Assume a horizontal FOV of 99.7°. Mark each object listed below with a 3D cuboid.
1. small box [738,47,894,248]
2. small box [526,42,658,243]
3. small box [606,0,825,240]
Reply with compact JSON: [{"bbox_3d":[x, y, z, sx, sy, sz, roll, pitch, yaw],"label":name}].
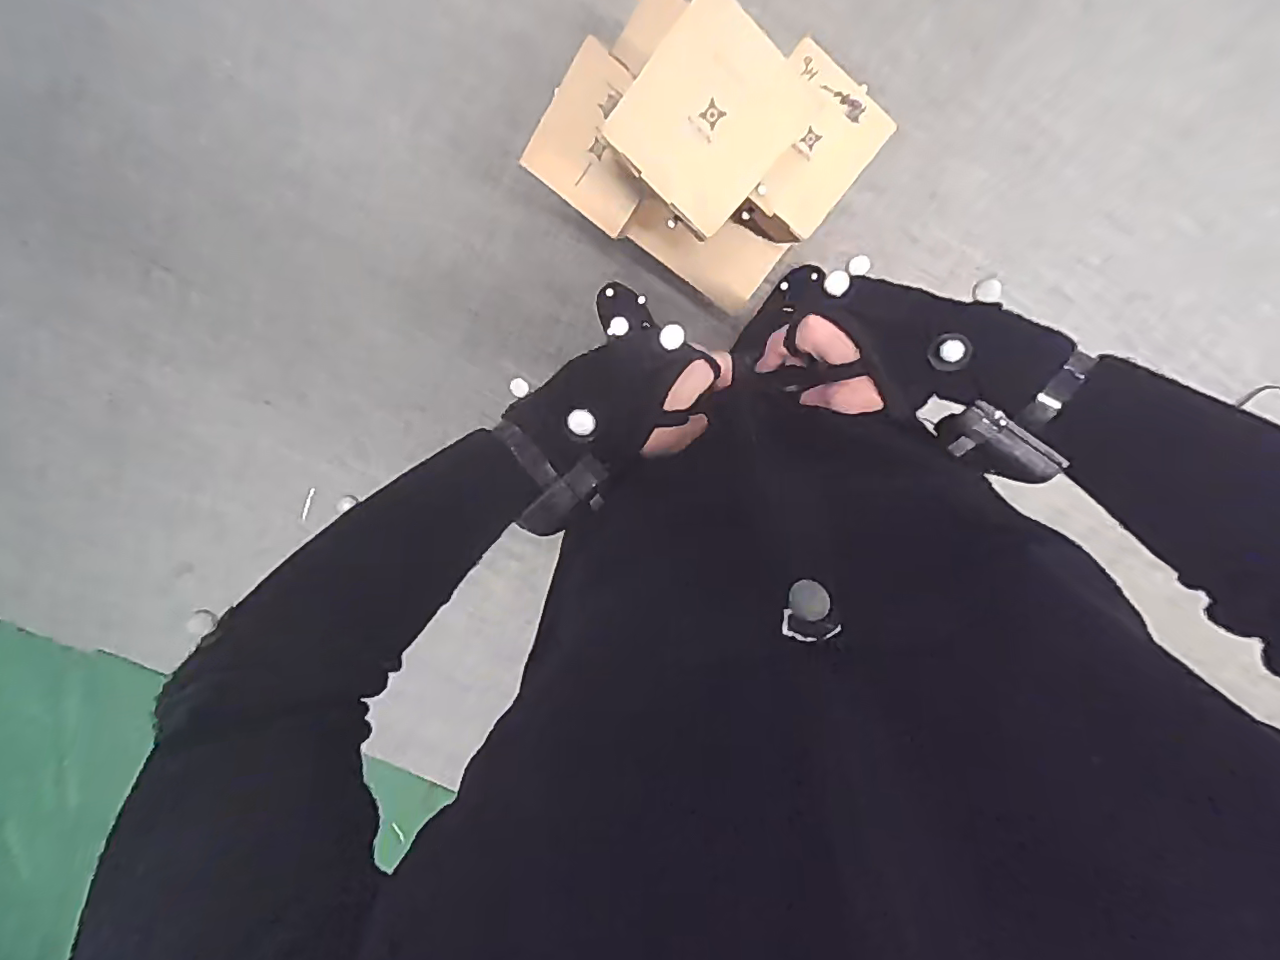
[{"bbox_3d":[0.224,-0.462,0.791,0.168,0.176,0.179,36,109,-11],"label":"small box"},{"bbox_3d":[-0.039,-0.478,0.798,0.168,0.176,0.179,37,112,-12],"label":"small box"},{"bbox_3d":[0.082,-0.409,0.642,0.168,0.176,0.179,39,107,-13],"label":"small box"}]
